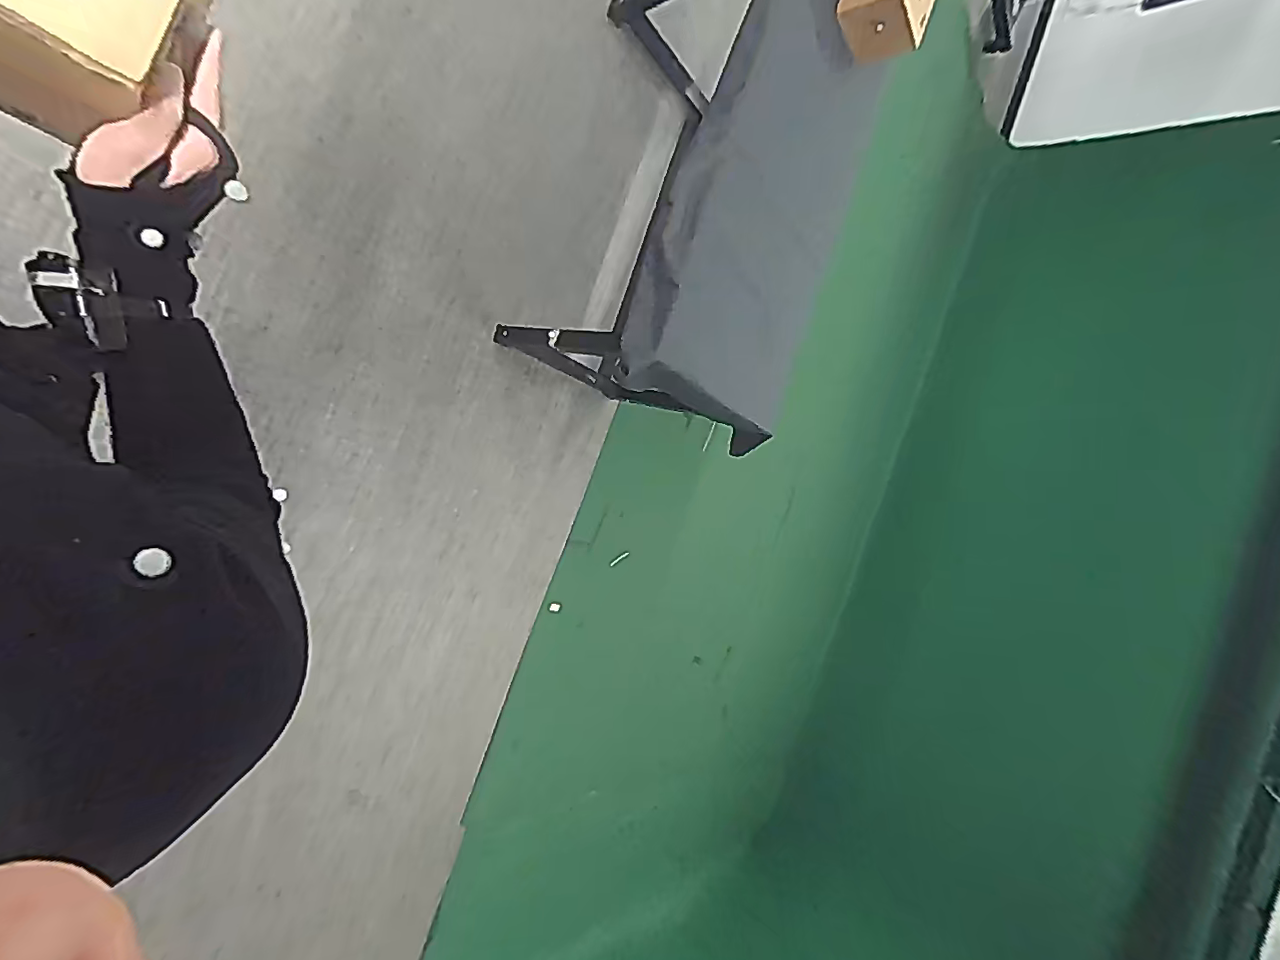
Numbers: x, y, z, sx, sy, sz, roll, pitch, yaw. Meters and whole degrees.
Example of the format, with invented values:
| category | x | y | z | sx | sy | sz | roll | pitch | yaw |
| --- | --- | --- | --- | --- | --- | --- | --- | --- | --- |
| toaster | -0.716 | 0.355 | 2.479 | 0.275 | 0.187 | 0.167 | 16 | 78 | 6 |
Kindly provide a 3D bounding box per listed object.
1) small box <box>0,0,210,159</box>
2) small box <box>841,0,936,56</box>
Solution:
| category | x | y | z | sx | sy | sz | roll | pitch | yaw |
| --- | --- | --- | --- | --- | --- | --- | --- | --- | --- |
| small box | -0.371 | -0.336 | 0.321 | 0.168 | 0.176 | 0.179 | 22 | 81 | -43 |
| small box | 0.648 | -1.254 | 1.401 | 0.179 | 0.176 | 0.168 | 20 | 91 | -48 |
